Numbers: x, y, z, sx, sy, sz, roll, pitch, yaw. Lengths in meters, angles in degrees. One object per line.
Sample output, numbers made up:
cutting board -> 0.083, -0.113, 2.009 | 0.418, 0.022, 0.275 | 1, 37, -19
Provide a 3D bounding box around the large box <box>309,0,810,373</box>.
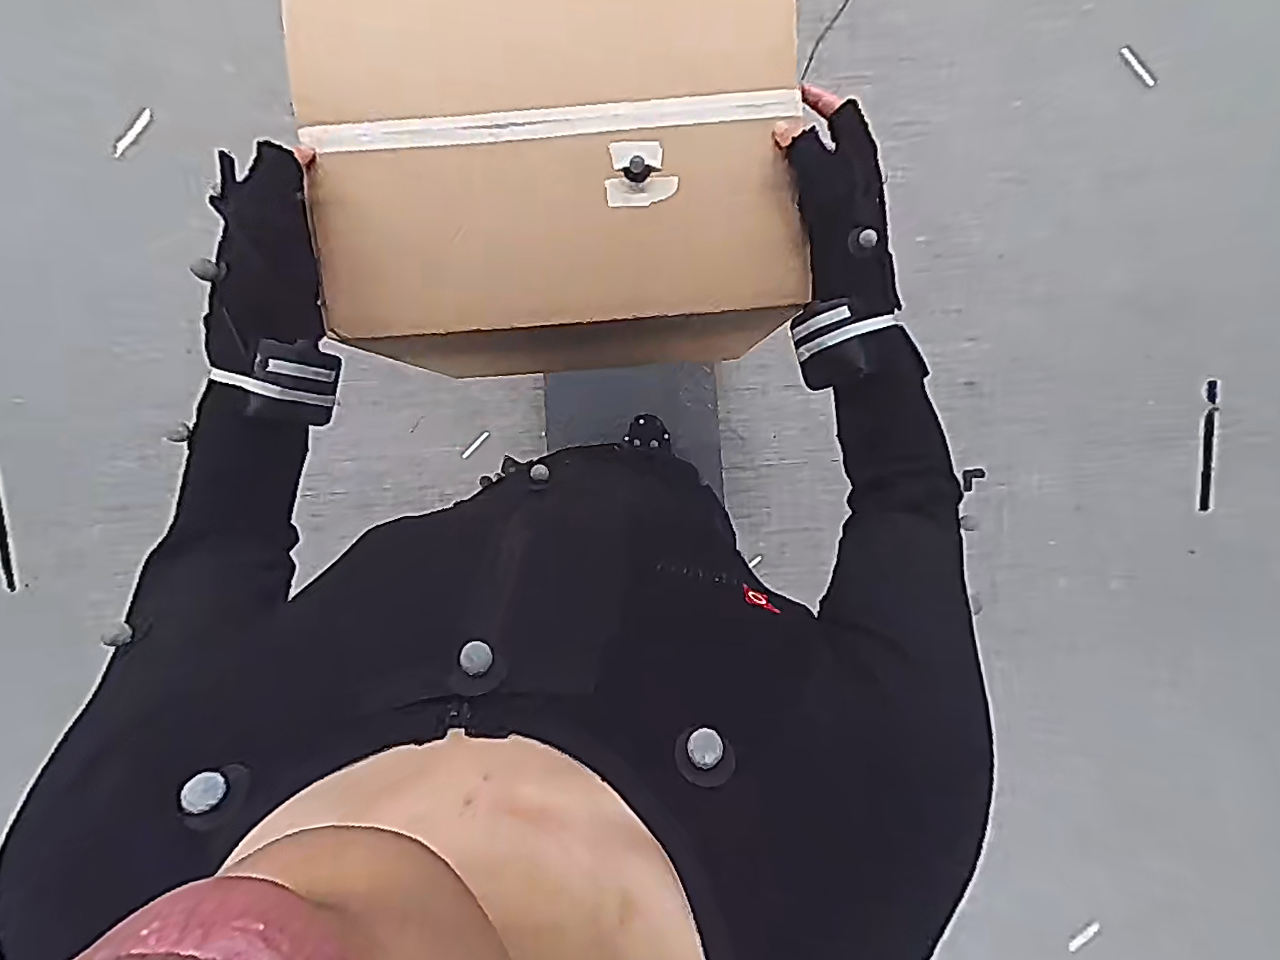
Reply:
large box -> -0.067, -0.306, 0.598 | 0.408, 0.320, 0.320 | -4, 95, -1
